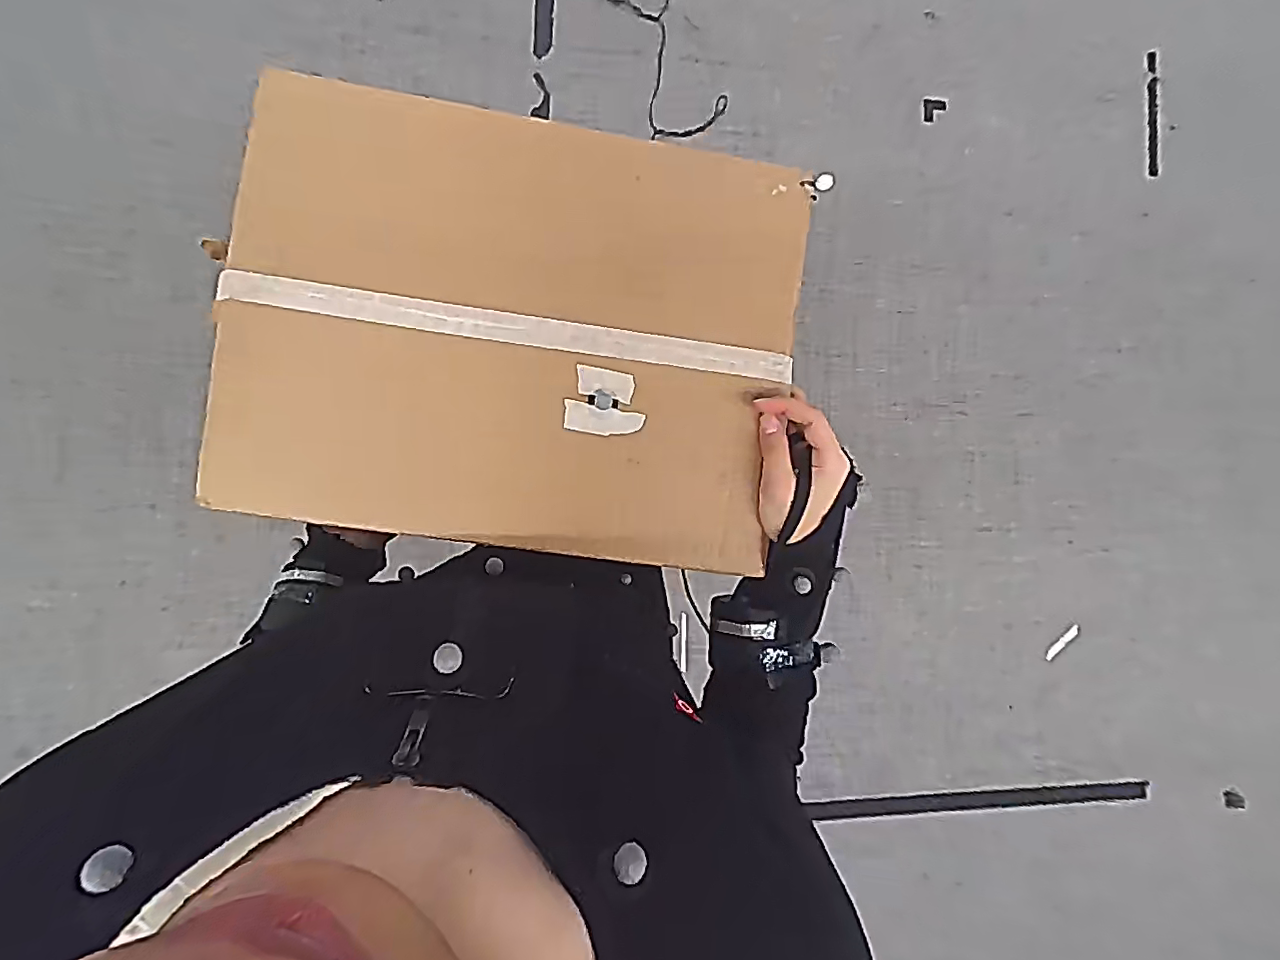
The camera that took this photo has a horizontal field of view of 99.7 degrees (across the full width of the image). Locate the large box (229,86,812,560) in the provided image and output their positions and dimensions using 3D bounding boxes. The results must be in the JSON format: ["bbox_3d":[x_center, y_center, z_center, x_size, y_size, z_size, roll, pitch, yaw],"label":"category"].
[{"bbox_3d":[-0.093,-0.108,0.549,0.408,0.320,0.320,7,89,-6],"label":"large box"}]
